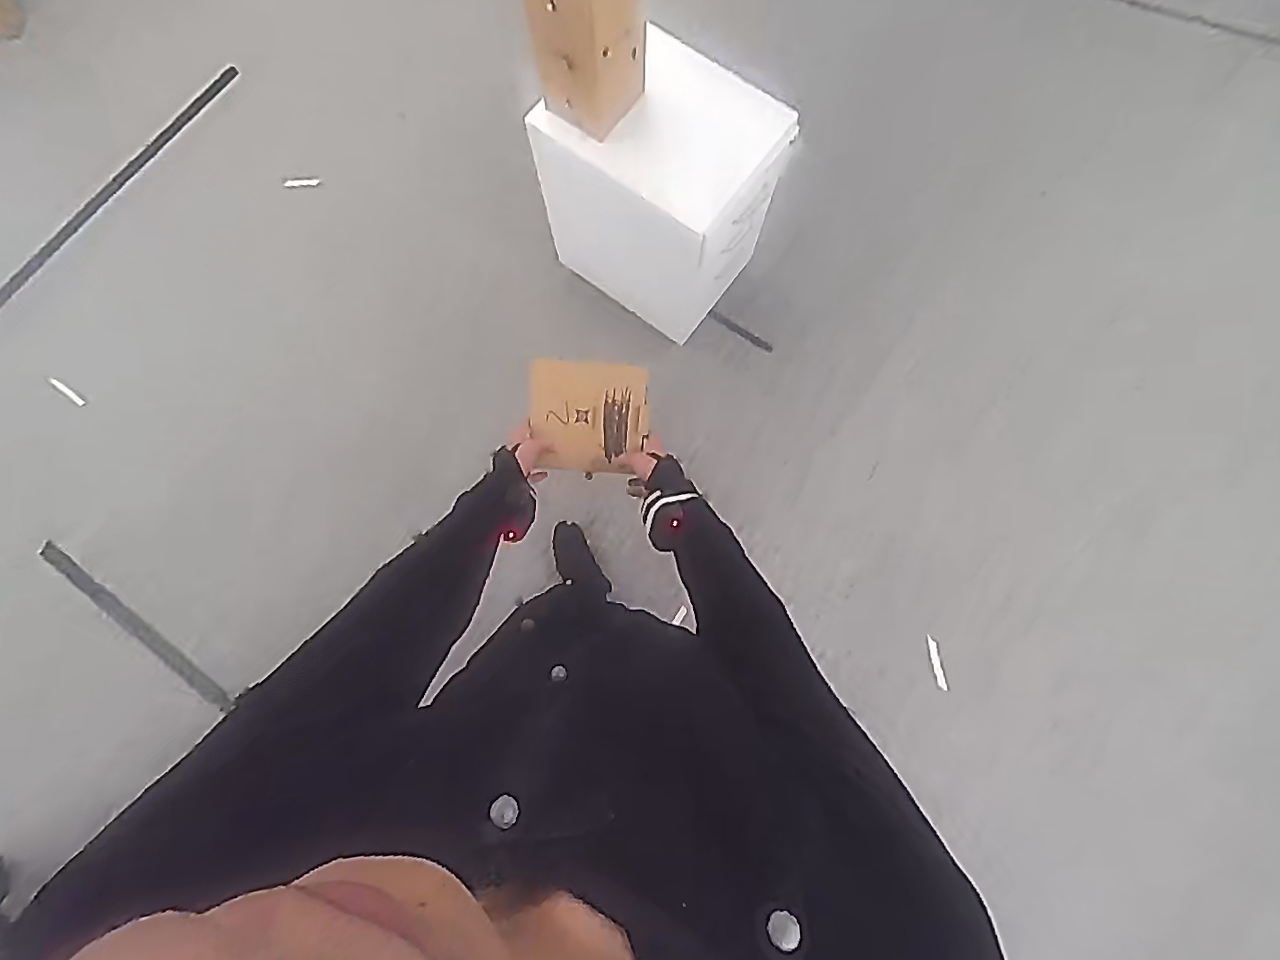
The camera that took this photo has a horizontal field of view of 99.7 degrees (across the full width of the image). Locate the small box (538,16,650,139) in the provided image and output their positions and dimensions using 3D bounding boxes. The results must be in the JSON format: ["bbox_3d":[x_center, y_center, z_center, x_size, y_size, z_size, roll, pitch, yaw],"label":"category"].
[{"bbox_3d":[-0.095,-0.897,1.168,0.168,0.176,0.179,35,81,7],"label":"small box"}]

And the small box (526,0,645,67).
[{"bbox_3d":[-0.101,-0.924,1.006,0.179,0.176,0.168,36,81,7],"label":"small box"}]
